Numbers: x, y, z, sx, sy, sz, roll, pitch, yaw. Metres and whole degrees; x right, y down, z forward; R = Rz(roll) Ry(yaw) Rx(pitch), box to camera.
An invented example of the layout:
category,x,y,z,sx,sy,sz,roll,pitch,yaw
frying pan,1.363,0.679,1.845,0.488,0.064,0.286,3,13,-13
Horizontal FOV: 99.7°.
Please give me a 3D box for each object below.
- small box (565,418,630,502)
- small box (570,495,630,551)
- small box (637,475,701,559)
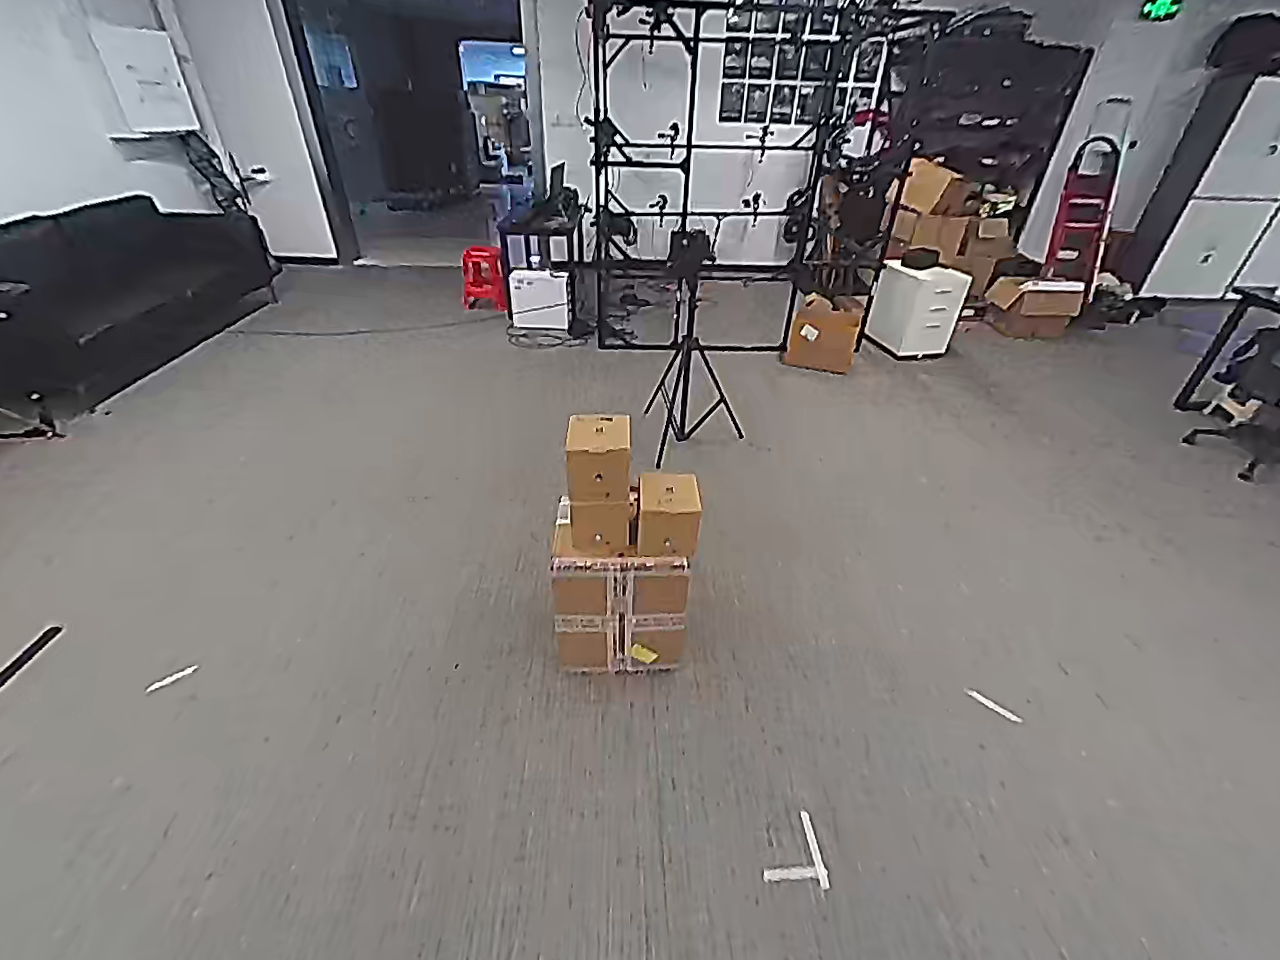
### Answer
category,x,y,z,sx,sy,sz,roll,pitch,yaw
small box,-0.110,-0.053,1.484,0.168,0.176,0.179,-1,38,-2
small box,-0.115,0.086,1.571,0.168,0.176,0.179,-2,38,-3
small box,0.077,0.105,1.555,0.168,0.176,0.179,1,36,-3
